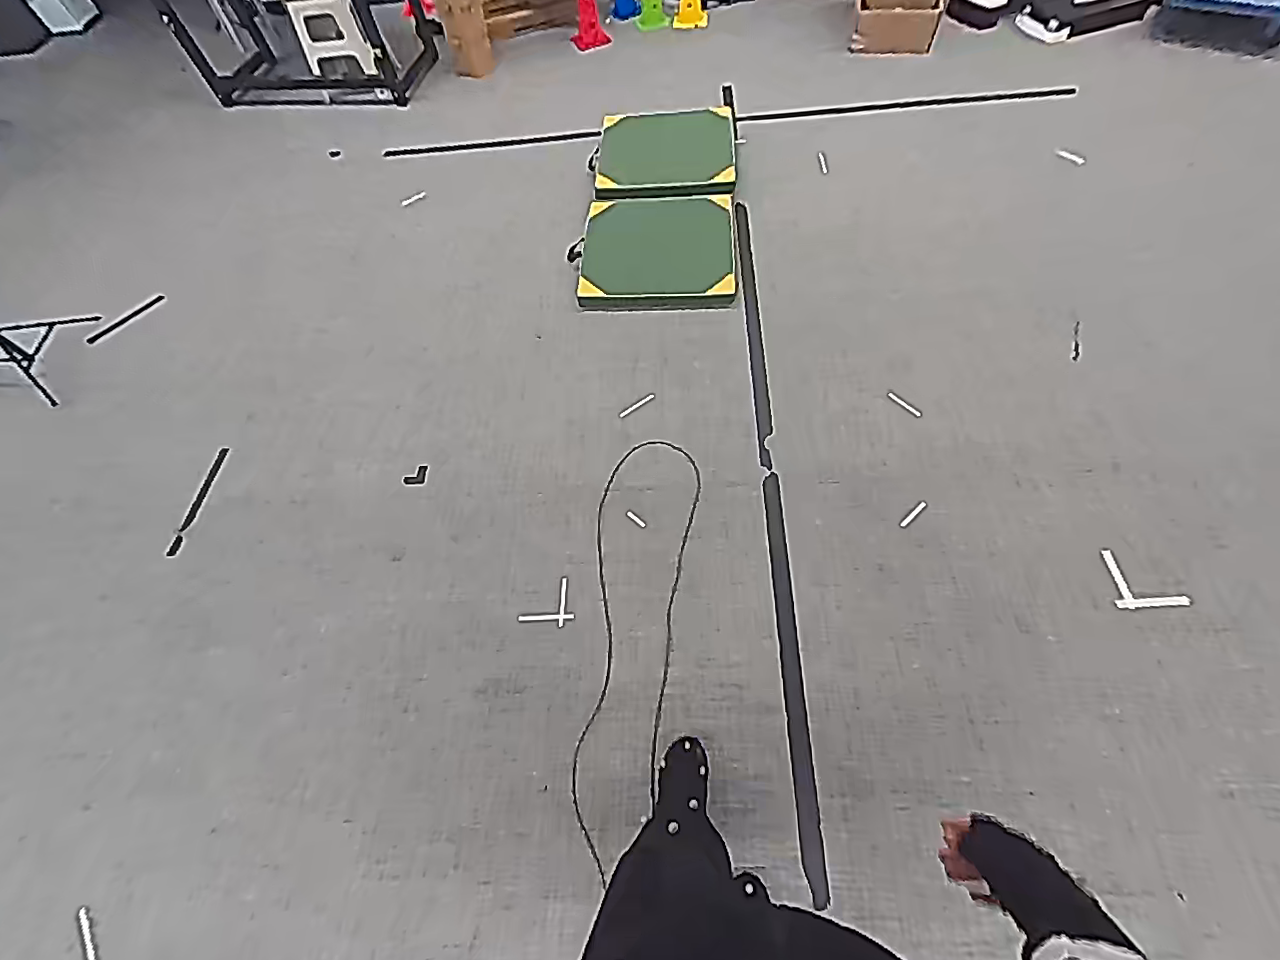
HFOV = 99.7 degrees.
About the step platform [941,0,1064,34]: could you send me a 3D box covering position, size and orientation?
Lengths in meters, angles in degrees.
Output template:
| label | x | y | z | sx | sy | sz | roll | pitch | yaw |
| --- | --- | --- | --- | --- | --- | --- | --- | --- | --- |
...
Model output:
| label | x | y | z | sx | sy | sz | roll | pitch | yaw |
| --- | --- | --- | --- | --- | --- | --- | --- | --- | --- |
| step platform | 2.006 | -2.665 | 2.922 | 0.684 | 0.204 | 0.286 | -27 | 61 | -9 |
